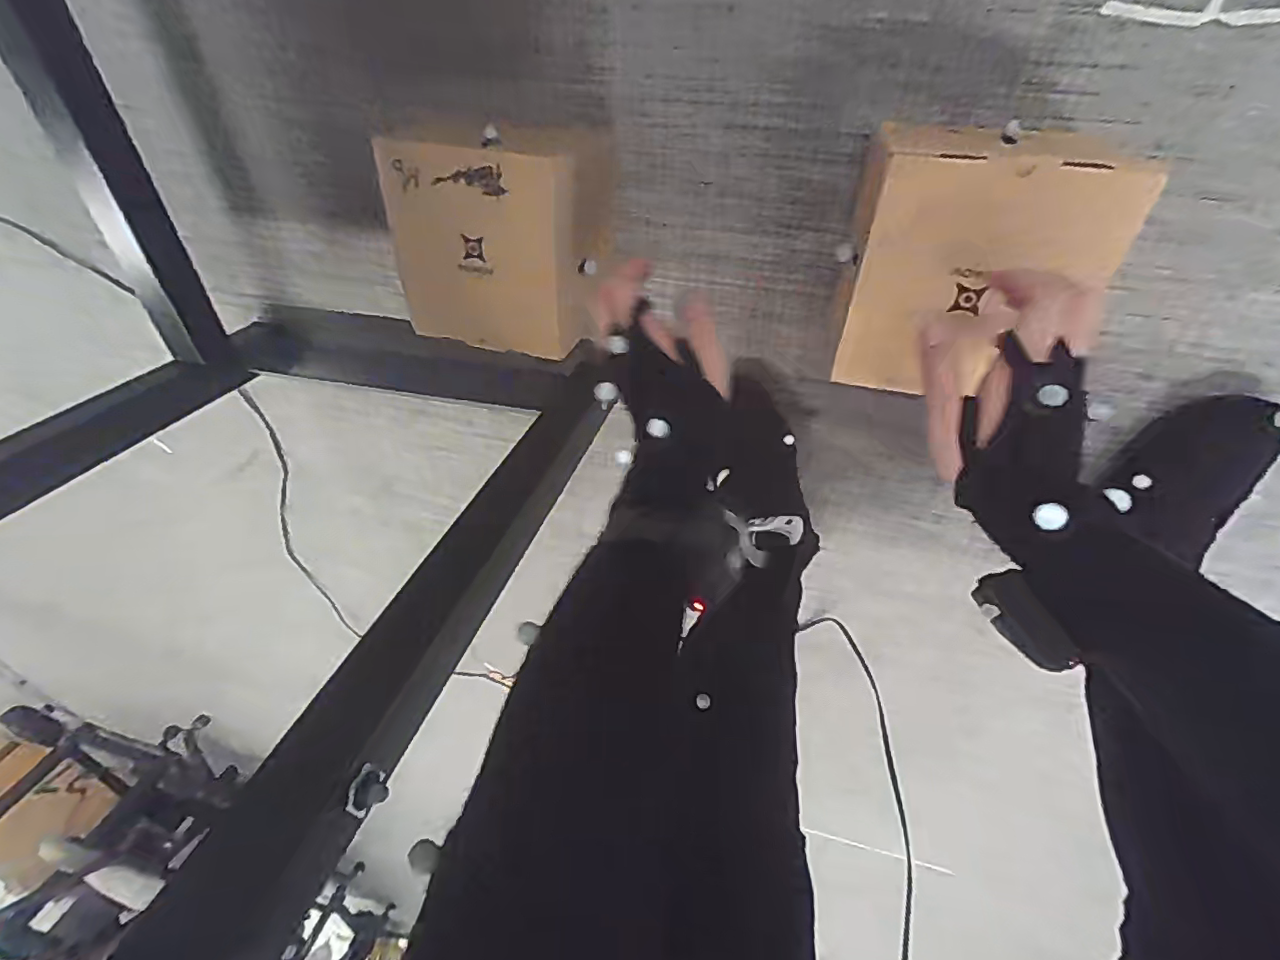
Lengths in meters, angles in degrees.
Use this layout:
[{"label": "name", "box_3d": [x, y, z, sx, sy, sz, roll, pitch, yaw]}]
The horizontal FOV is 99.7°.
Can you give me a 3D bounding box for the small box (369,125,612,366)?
[{"label": "small box", "box_3d": [-0.131, -0.243, 0.550, 0.168, 0.176, 0.179, 13, 129, 11]}]
